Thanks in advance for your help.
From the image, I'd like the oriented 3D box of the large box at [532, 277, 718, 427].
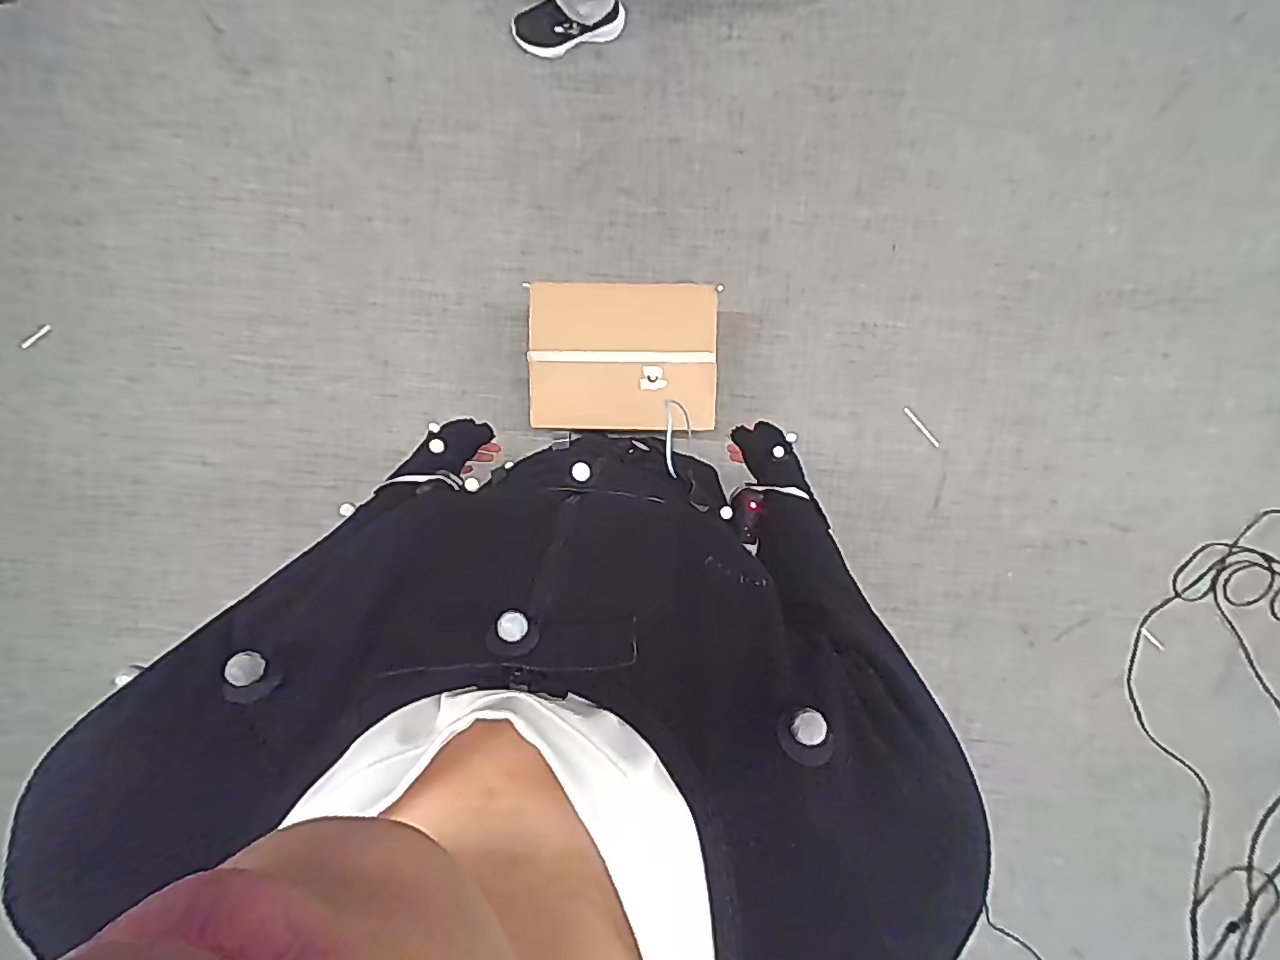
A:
[{"bbox_3d":[-0.034,-0.288,1.310,0.408,0.320,0.320,1,96,0],"label":"large box"}]
